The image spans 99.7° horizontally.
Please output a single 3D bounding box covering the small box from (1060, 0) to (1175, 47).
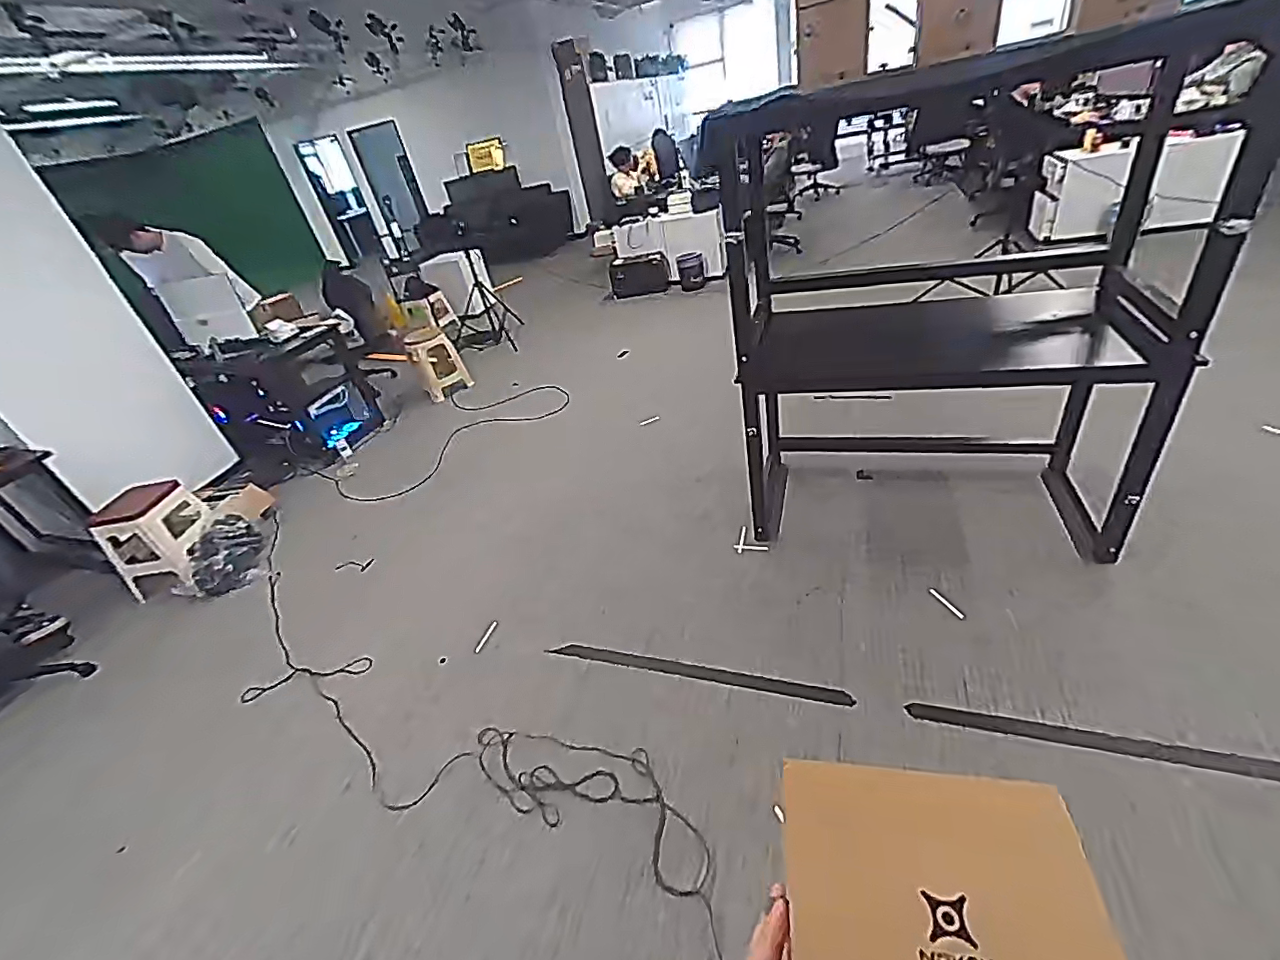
[{"bbox_3d":[1.020,-1.042,1.148,0.168,0.176,0.179,5,38,26],"label":"small box"}]

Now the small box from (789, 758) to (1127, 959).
[{"bbox_3d":[0.184,0.311,0.345,0.168,0.176,0.179,-2,39,13],"label":"small box"}]

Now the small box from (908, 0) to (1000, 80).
[{"bbox_3d":[0.729,-1.055,1.263,0.168,0.176,0.179,3,35,21],"label":"small box"}]

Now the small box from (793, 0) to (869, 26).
[{"bbox_3d":[0.451,-1.196,1.271,0.168,0.176,0.179,1,35,21],"label":"small box"}]
